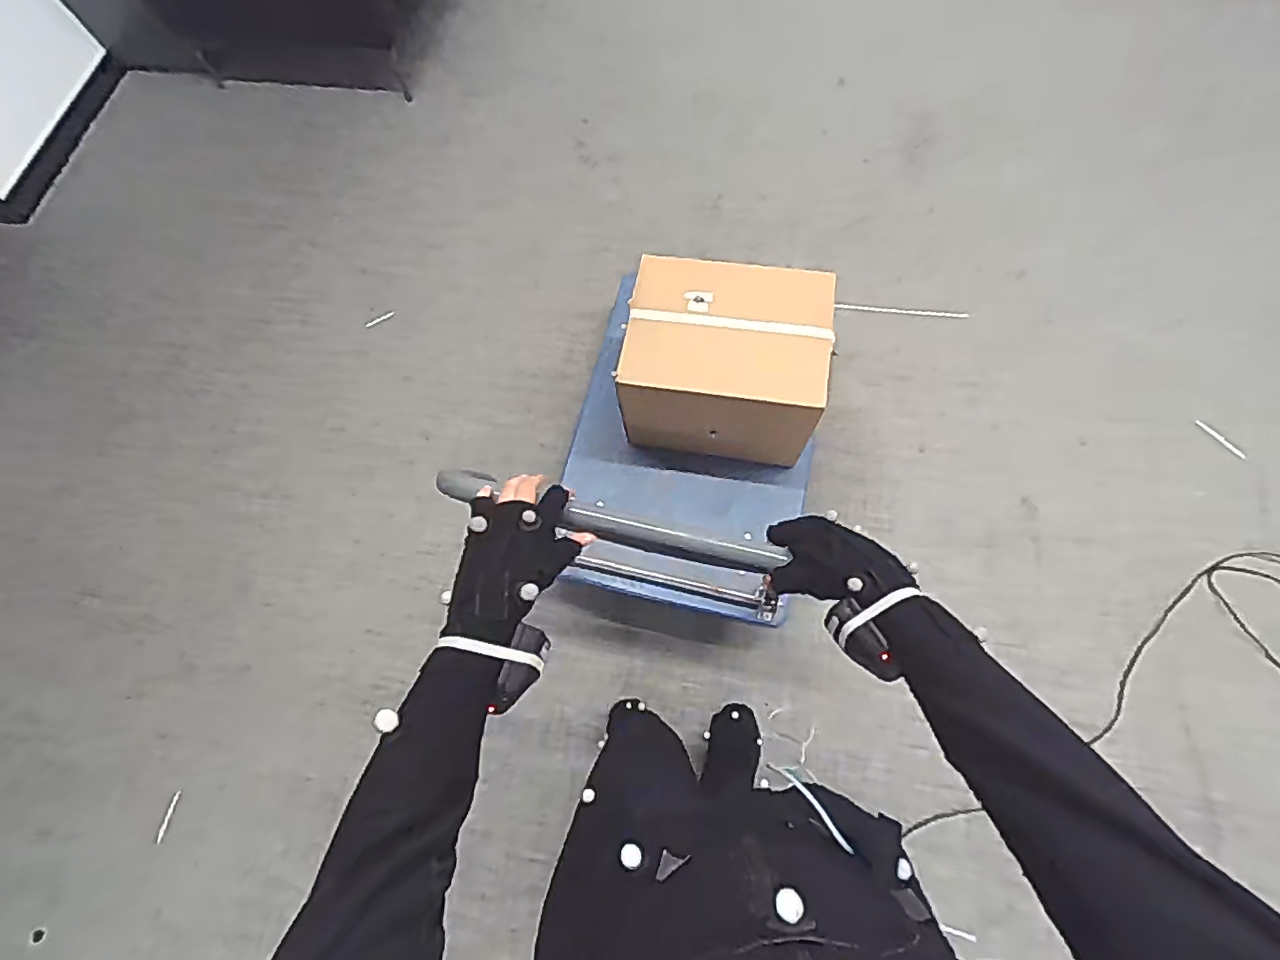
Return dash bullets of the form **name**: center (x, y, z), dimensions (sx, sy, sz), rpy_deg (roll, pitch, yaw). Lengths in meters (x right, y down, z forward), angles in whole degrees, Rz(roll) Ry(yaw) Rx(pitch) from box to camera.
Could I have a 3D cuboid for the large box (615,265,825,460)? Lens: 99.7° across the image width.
- **large box**: center (0.181, -0.252, 1.231), dimensions (0.408, 0.320, 0.320), rpy_deg (7, 71, 8)
